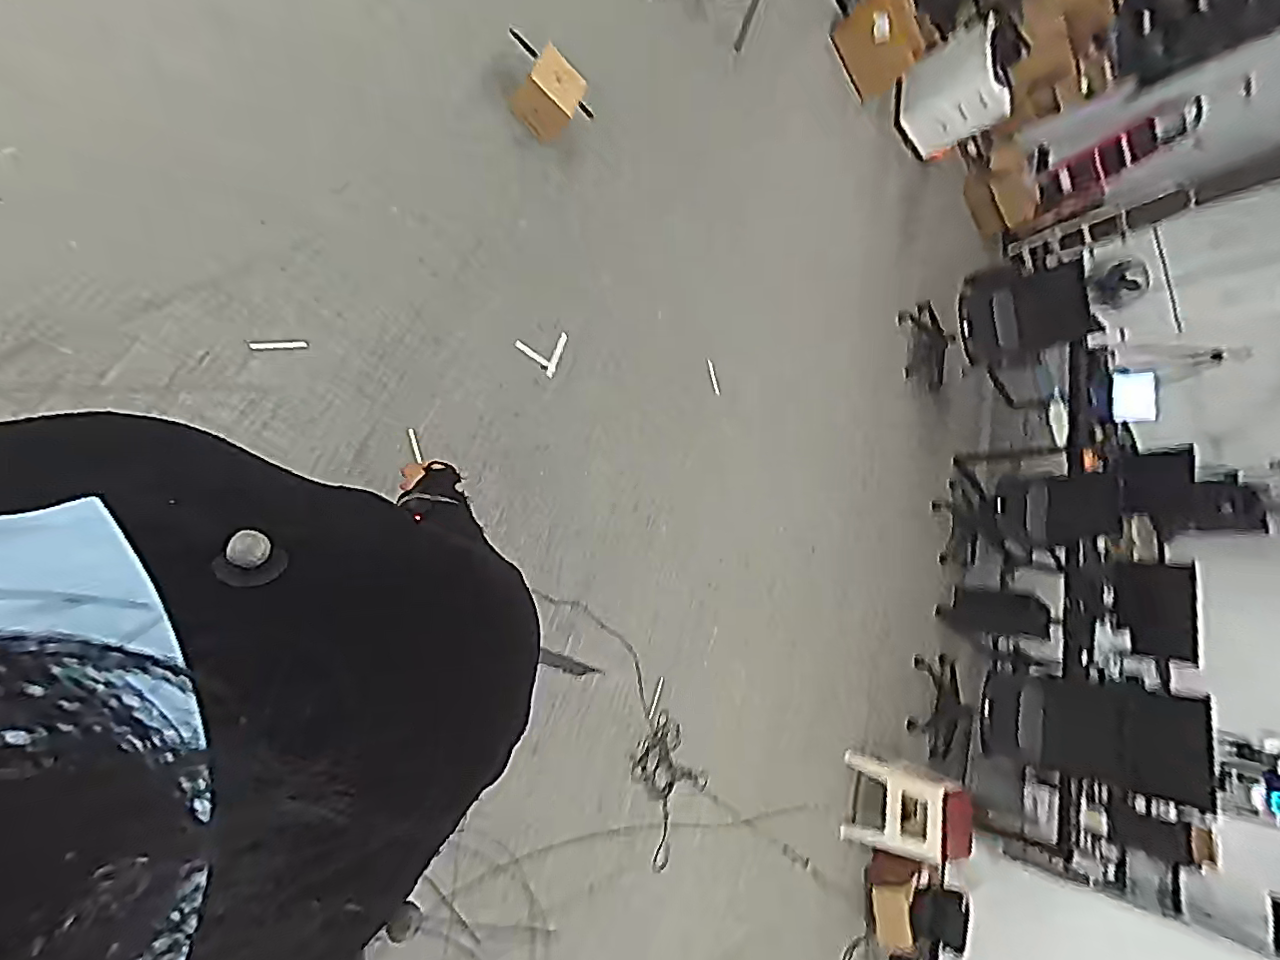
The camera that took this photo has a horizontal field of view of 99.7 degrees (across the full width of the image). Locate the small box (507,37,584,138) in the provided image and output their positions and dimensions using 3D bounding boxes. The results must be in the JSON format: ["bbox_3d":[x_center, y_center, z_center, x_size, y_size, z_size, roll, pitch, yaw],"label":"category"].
[{"bbox_3d":[-0.320,-1.292,1.794,0.168,0.176,0.179,31,65,-34],"label":"small box"}]
